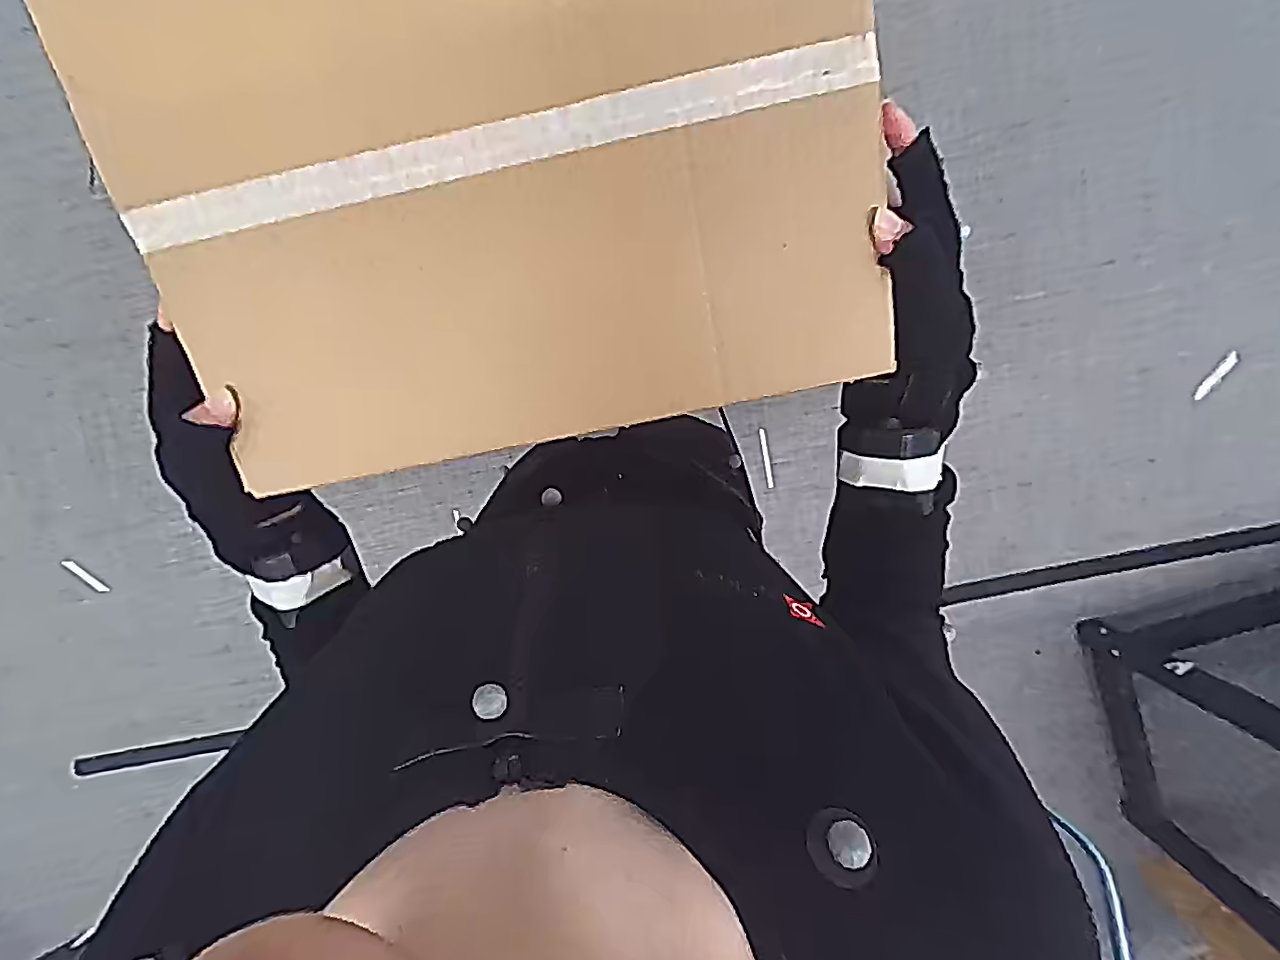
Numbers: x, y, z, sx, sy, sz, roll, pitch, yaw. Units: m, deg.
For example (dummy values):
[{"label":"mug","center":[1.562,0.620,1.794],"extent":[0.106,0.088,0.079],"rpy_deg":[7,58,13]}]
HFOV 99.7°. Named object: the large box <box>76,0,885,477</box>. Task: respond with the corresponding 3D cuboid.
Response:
[{"label":"large box","center":[-0.075,-0.224,0.439],"extent":[0.408,0.320,0.320],"rpy_deg":[-10,108,3]}]
